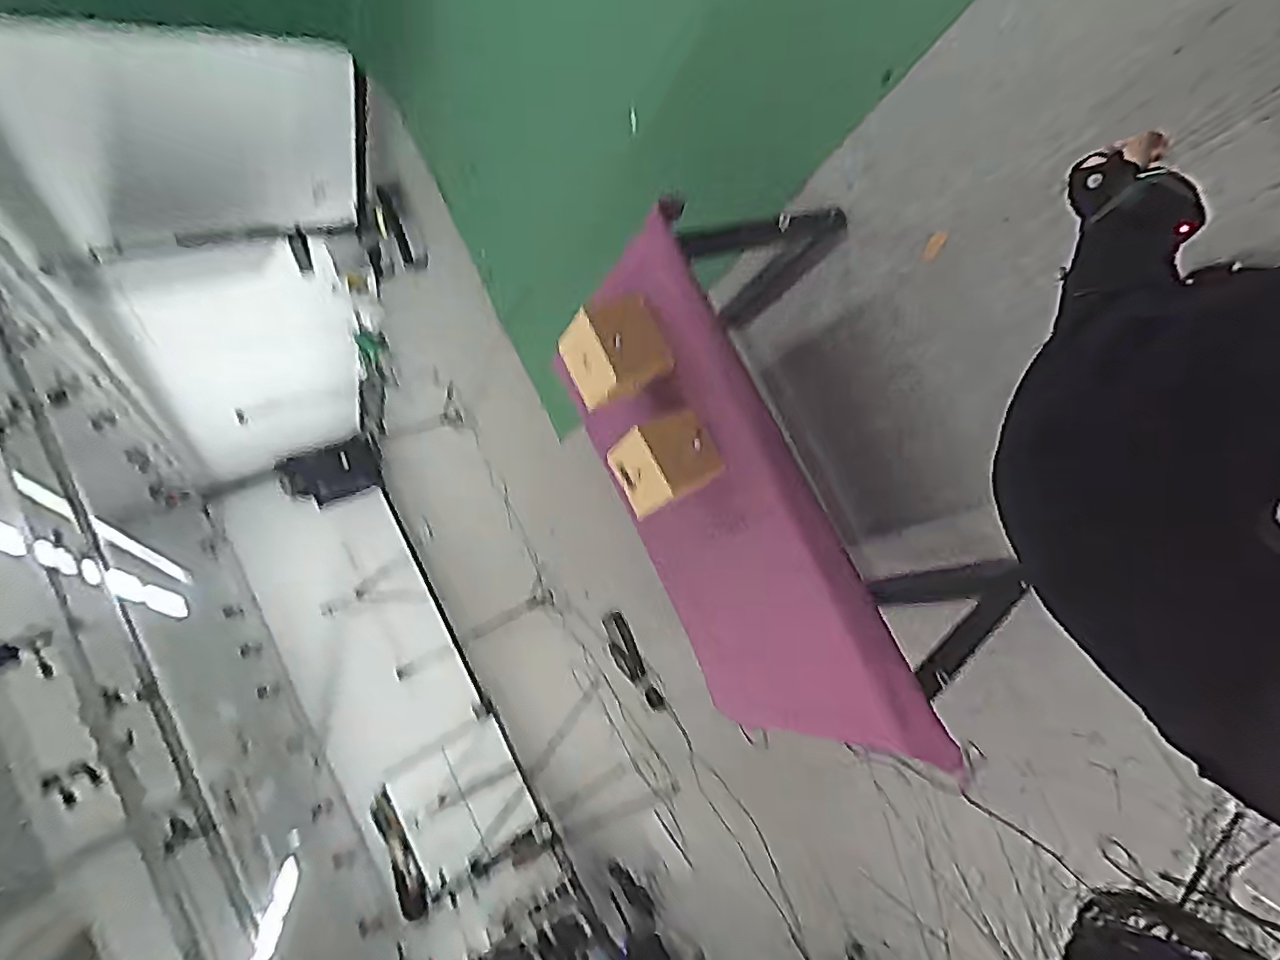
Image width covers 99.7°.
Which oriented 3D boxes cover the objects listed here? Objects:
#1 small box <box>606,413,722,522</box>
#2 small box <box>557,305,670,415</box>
[{"bbox_3d":[0.055,-0.029,1.237,0.168,0.176,0.179,60,147,7],"label":"small box"},{"bbox_3d":[-0.060,-0.276,1.237,0.168,0.176,0.179,-31,85,59],"label":"small box"}]
